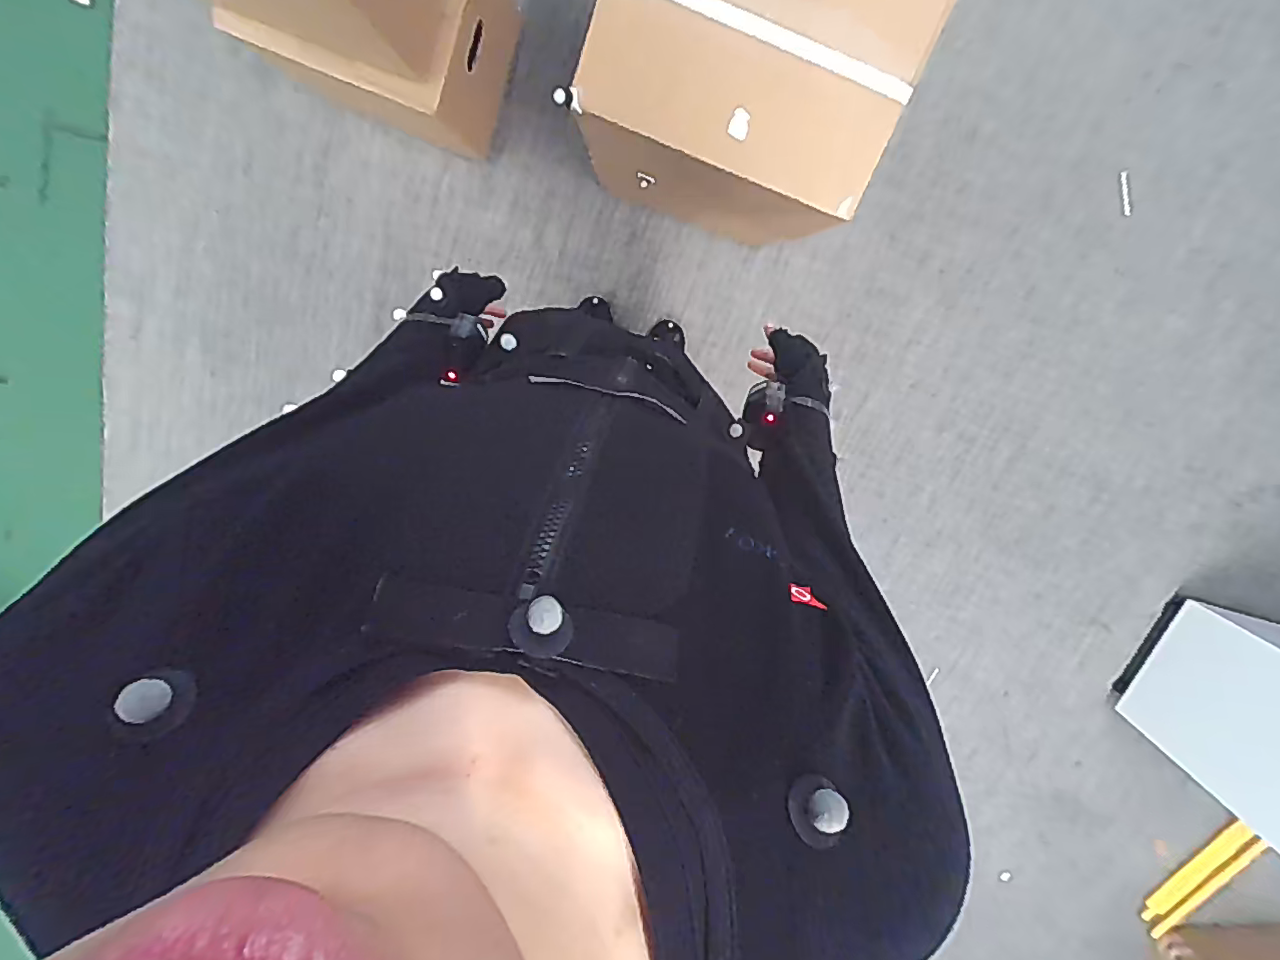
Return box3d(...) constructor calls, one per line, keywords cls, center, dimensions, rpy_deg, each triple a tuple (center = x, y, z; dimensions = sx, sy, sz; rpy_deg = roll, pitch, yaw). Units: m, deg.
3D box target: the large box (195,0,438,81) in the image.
box3d(cls="large box", center=(-0.523, -0.857, 0.754), dimensions=(0.408, 0.320, 0.320), rpy_deg=(18, 104, -5))
